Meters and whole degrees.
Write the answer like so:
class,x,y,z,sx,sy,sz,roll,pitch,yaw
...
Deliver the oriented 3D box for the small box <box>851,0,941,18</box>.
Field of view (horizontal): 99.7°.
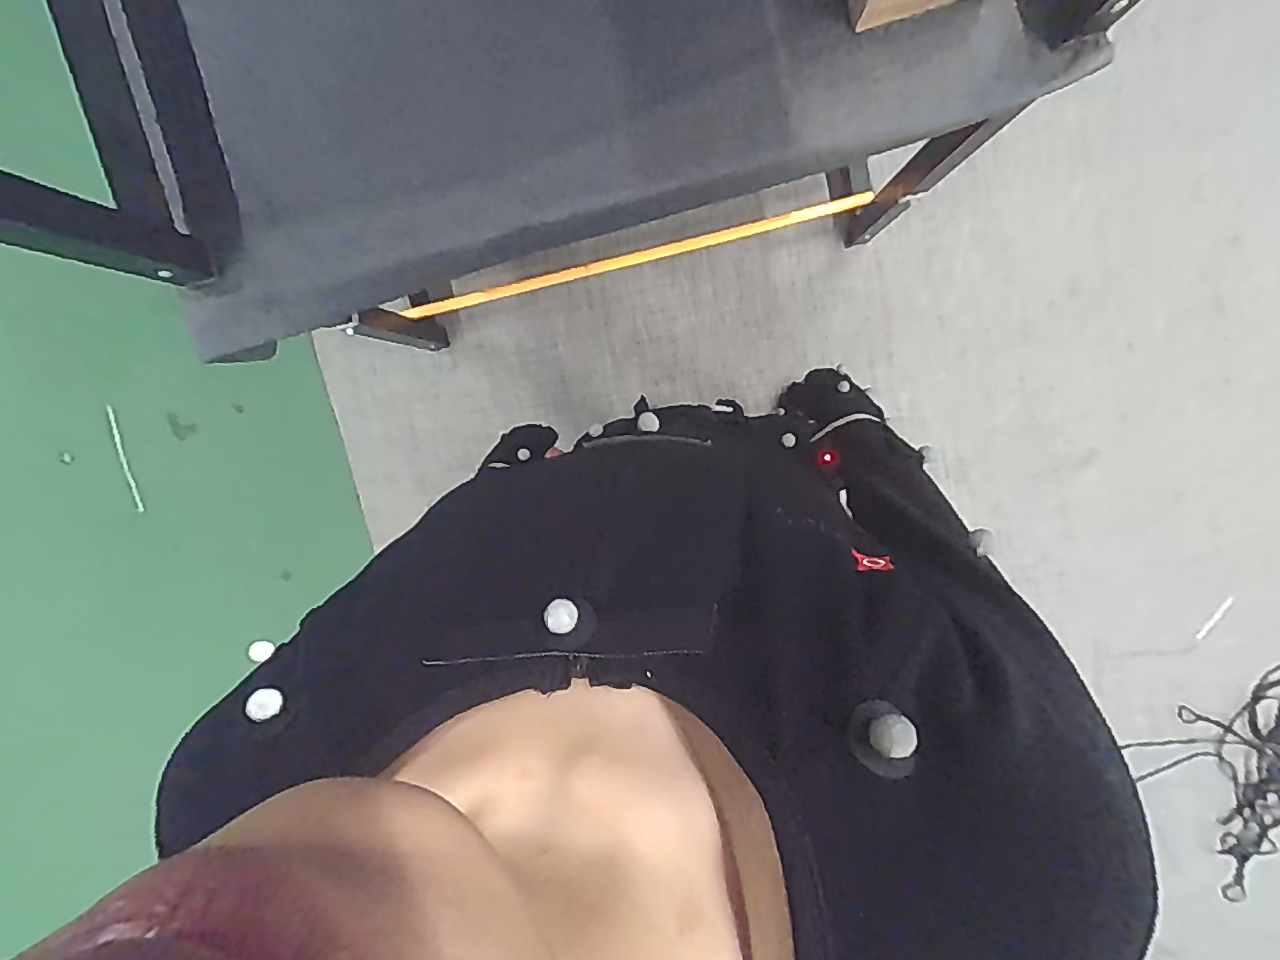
class,x,y,z,sx,sy,sz,roll,pitch,yaw
small box,0.310,-0.627,0.552,0.168,0.176,0.179,-14,96,5
